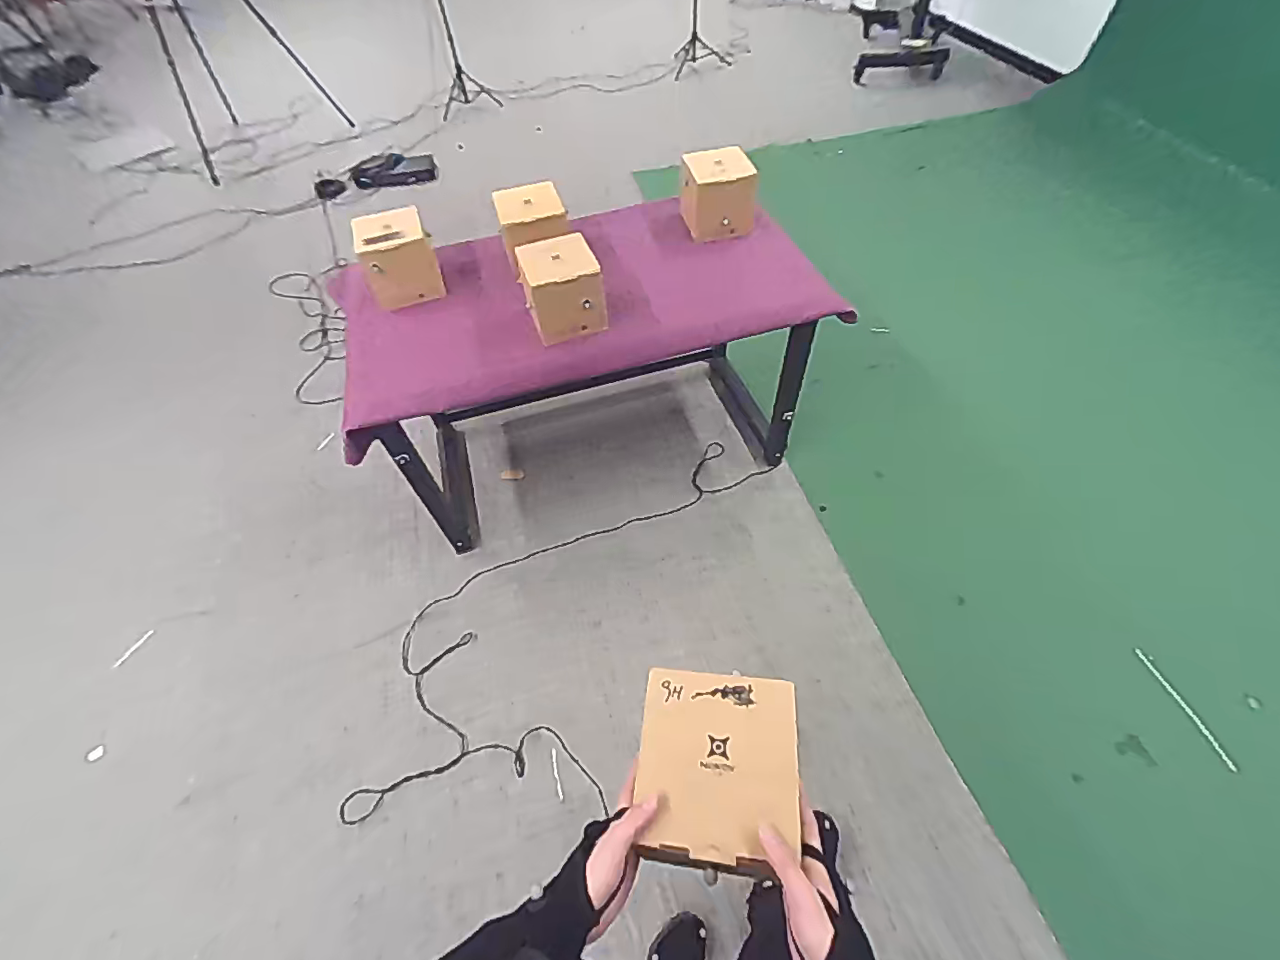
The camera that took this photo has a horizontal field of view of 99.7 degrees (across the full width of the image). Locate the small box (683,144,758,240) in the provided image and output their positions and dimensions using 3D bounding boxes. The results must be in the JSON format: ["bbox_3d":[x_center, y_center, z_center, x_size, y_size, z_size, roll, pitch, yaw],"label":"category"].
[{"bbox_3d":[0.216,-0.801,1.509,0.168,0.176,0.179,-12,55,-3],"label":"small box"}]

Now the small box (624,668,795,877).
[{"bbox_3d":[0.084,0.337,0.620,0.168,0.176,0.179,3,52,9],"label":"small box"}]

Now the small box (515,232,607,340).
[{"bbox_3d":[-0.185,-0.456,1.294,0.168,0.176,0.179,-18,54,-9],"label":"small box"}]

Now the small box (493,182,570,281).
[{"bbox_3d":[-0.283,-0.664,1.451,0.168,0.176,0.179,-16,56,-8],"label":"small box"}]
